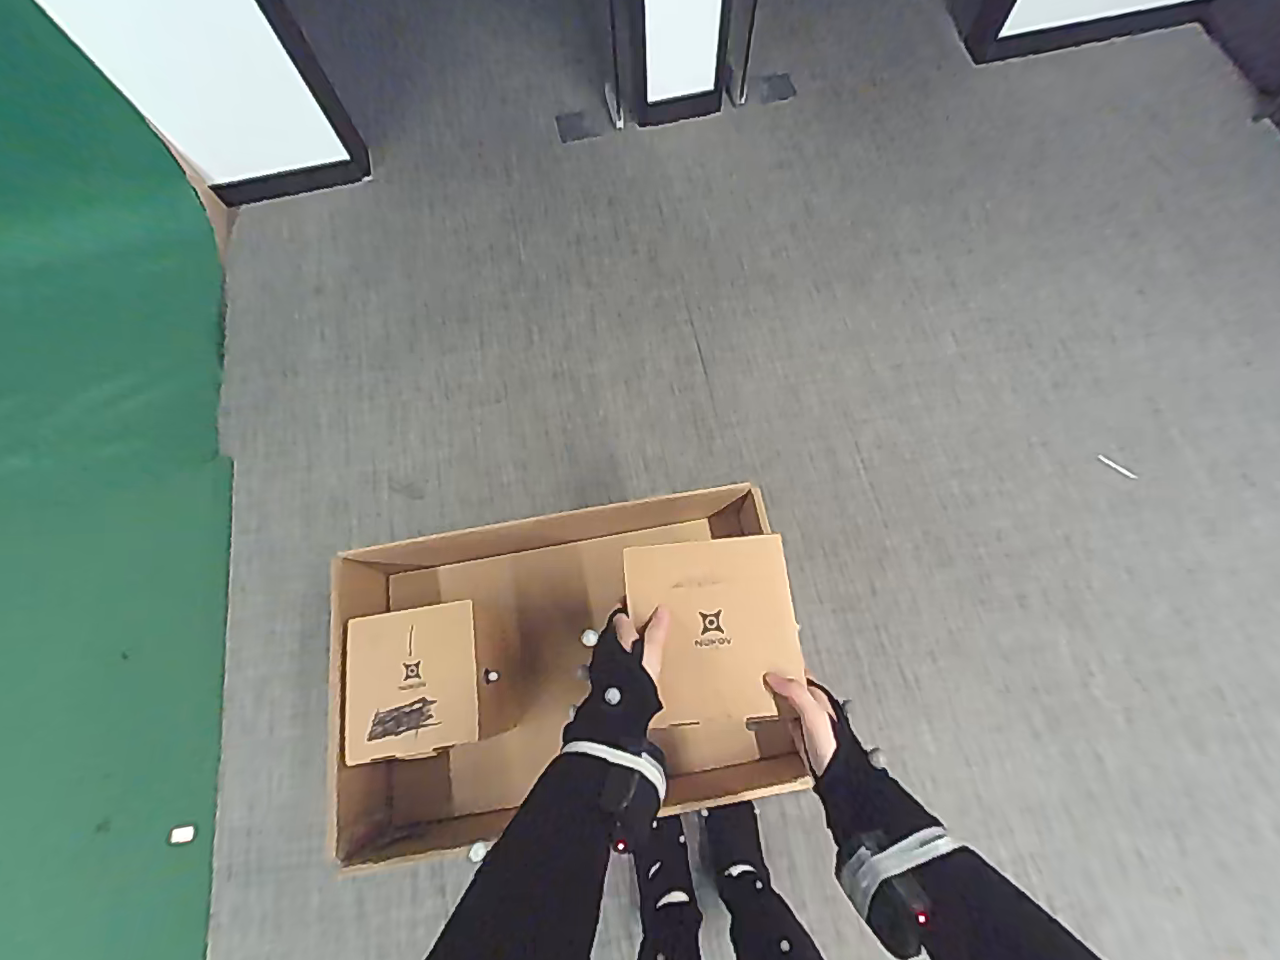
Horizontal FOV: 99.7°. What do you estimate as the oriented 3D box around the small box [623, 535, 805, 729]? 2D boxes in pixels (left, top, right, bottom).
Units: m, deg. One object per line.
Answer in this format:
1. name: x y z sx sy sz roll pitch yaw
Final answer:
1. small box: 0.073 0.170 0.603 0.168 0.176 0.179 -5 70 1
